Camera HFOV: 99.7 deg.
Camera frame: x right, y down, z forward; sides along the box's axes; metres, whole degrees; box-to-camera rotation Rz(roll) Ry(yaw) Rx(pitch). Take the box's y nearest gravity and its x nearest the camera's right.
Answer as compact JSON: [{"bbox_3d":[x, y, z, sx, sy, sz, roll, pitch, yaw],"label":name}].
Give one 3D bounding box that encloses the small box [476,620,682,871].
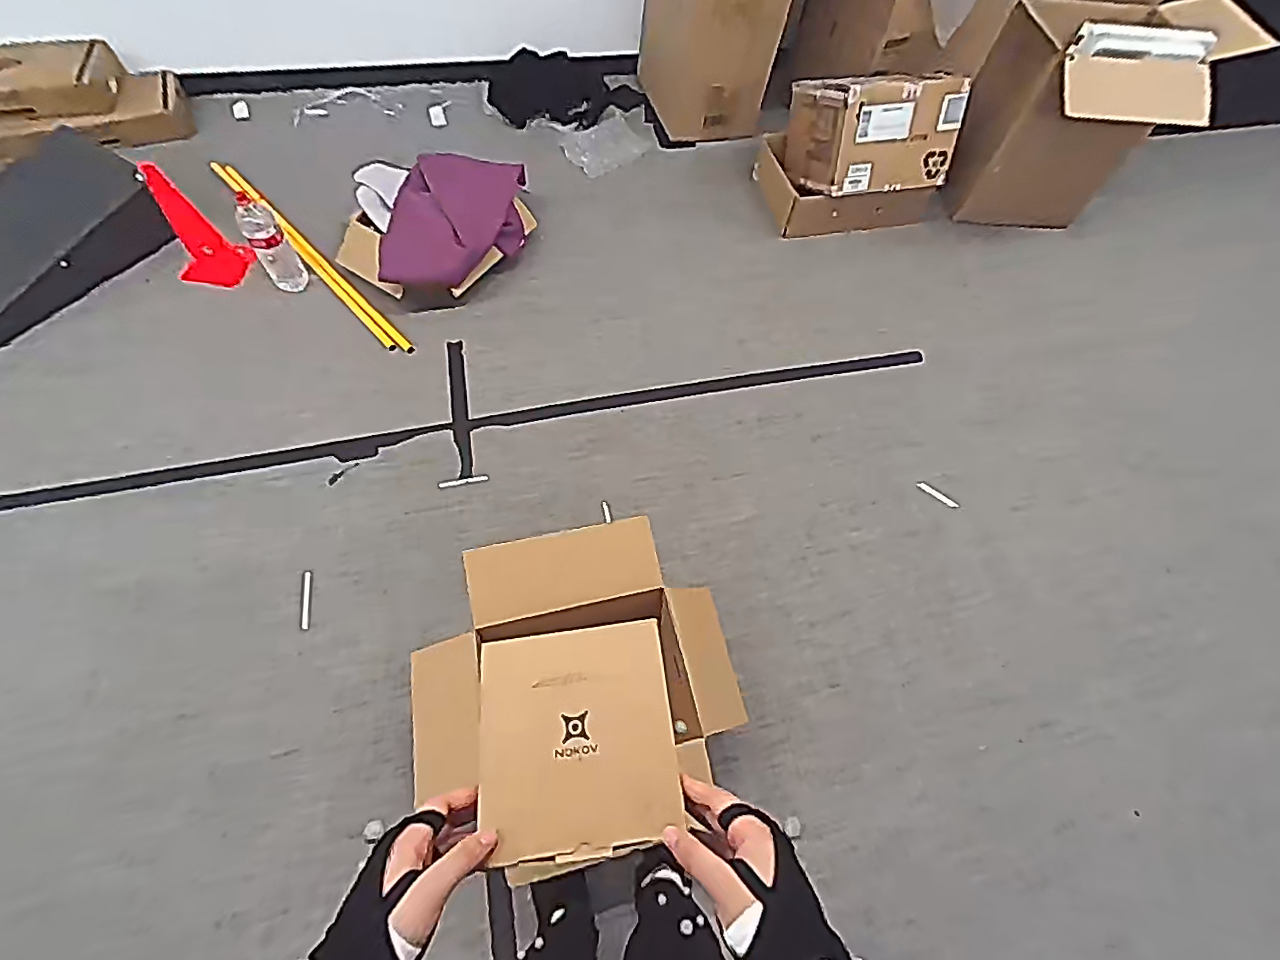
[{"bbox_3d":[-0.053,0.256,0.527,0.168,0.176,0.179,-8,58,-3],"label":"small box"}]
